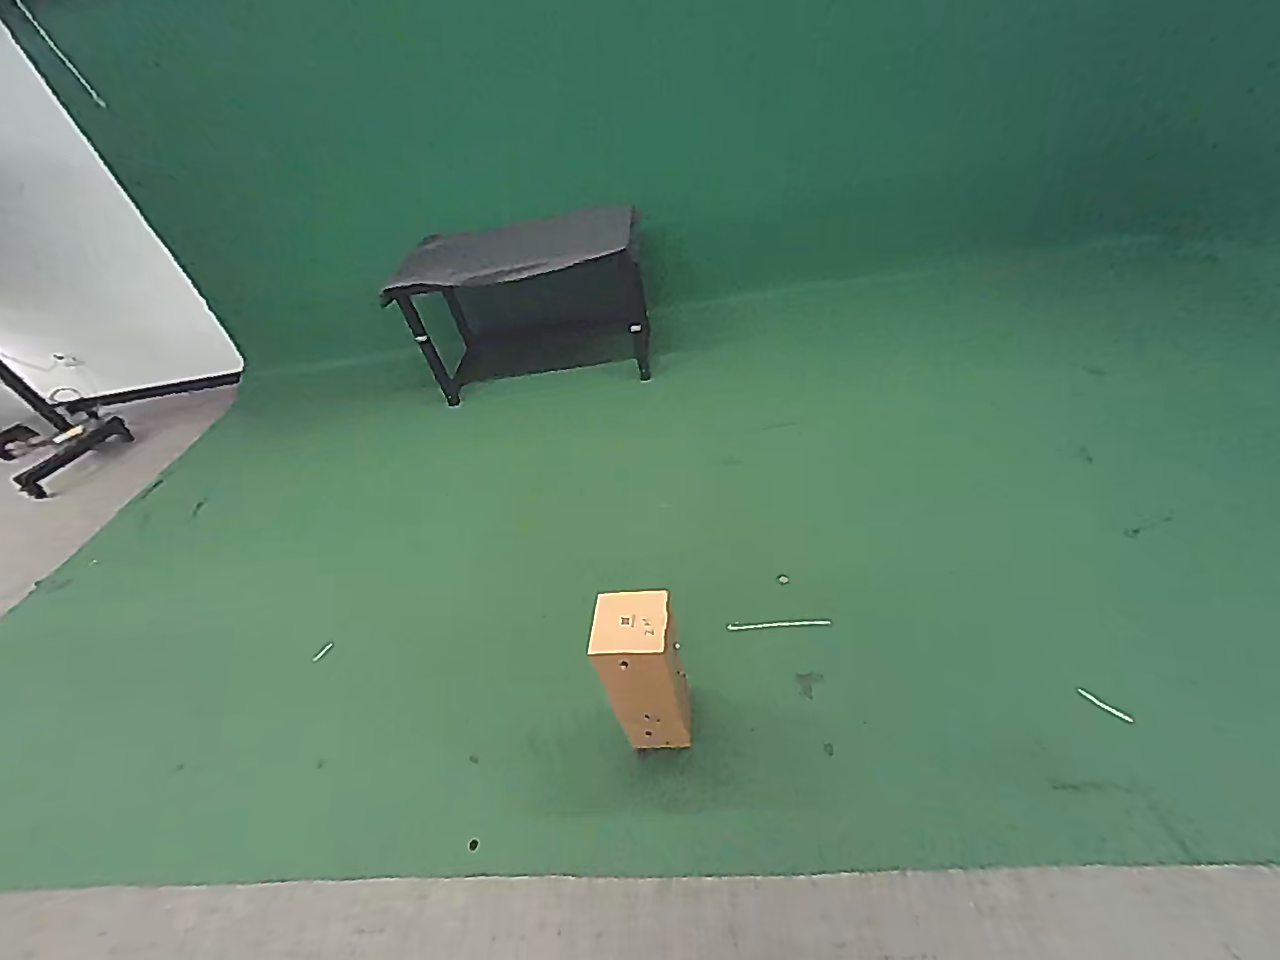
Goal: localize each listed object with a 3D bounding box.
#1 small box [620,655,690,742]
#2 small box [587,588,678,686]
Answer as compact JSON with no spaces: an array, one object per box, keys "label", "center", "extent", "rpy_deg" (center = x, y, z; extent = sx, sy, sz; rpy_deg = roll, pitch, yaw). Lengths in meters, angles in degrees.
[{"label":"small box","center":[0.047,0.613,1.504],"extent":[0.168,0.176,0.179],"rpy_deg":[-6,41,9]},{"label":"small box","center":[-0.011,0.374,1.285],"extent":[0.179,0.176,0.168],"rpy_deg":[-4,42,11]}]
